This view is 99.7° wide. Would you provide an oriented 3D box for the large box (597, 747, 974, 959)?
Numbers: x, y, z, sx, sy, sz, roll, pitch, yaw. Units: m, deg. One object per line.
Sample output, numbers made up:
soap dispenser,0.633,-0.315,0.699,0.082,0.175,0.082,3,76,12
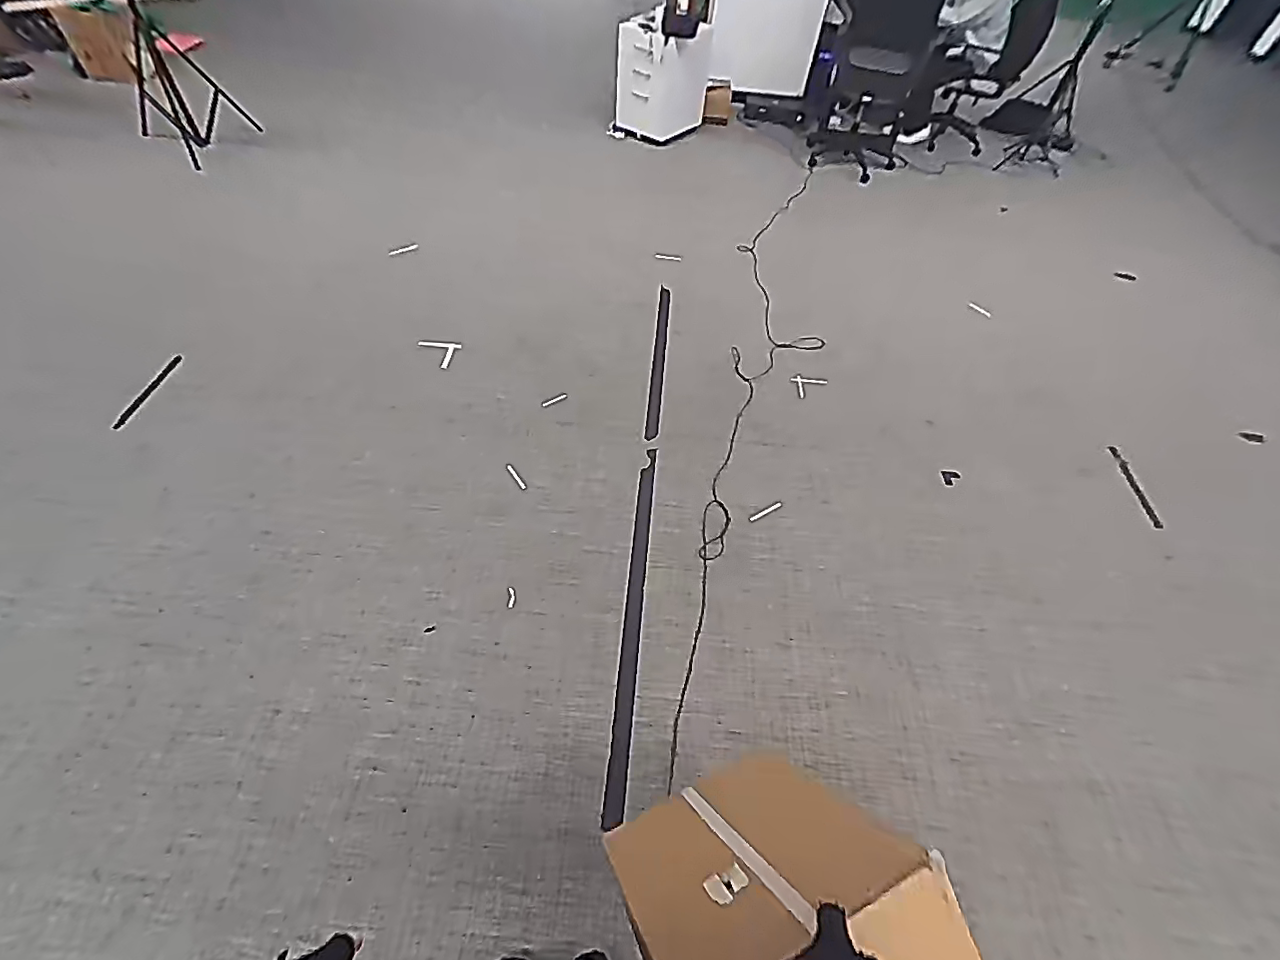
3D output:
large box,0.178,0.625,0.713,0.320,0.408,0.320,-21,87,-20
